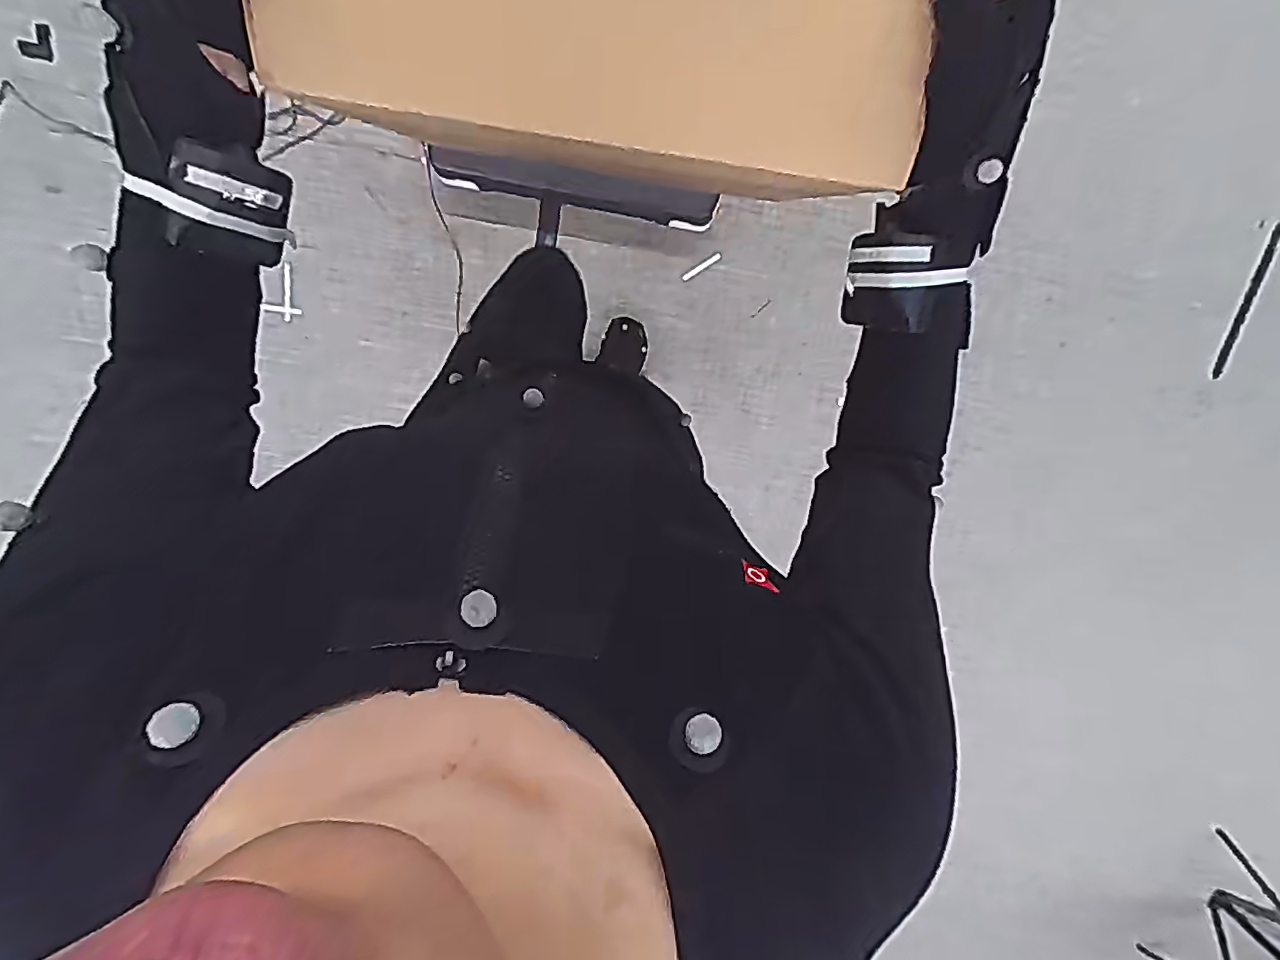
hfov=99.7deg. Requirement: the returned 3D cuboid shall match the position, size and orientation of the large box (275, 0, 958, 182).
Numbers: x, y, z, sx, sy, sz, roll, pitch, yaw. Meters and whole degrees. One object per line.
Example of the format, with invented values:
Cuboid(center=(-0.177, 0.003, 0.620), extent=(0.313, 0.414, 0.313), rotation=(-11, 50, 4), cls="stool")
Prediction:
Cuboid(center=(-0.006, -0.429, 0.407), extent=(0.408, 0.320, 0.320), rotation=(6, 117, -5), cls="large box")
